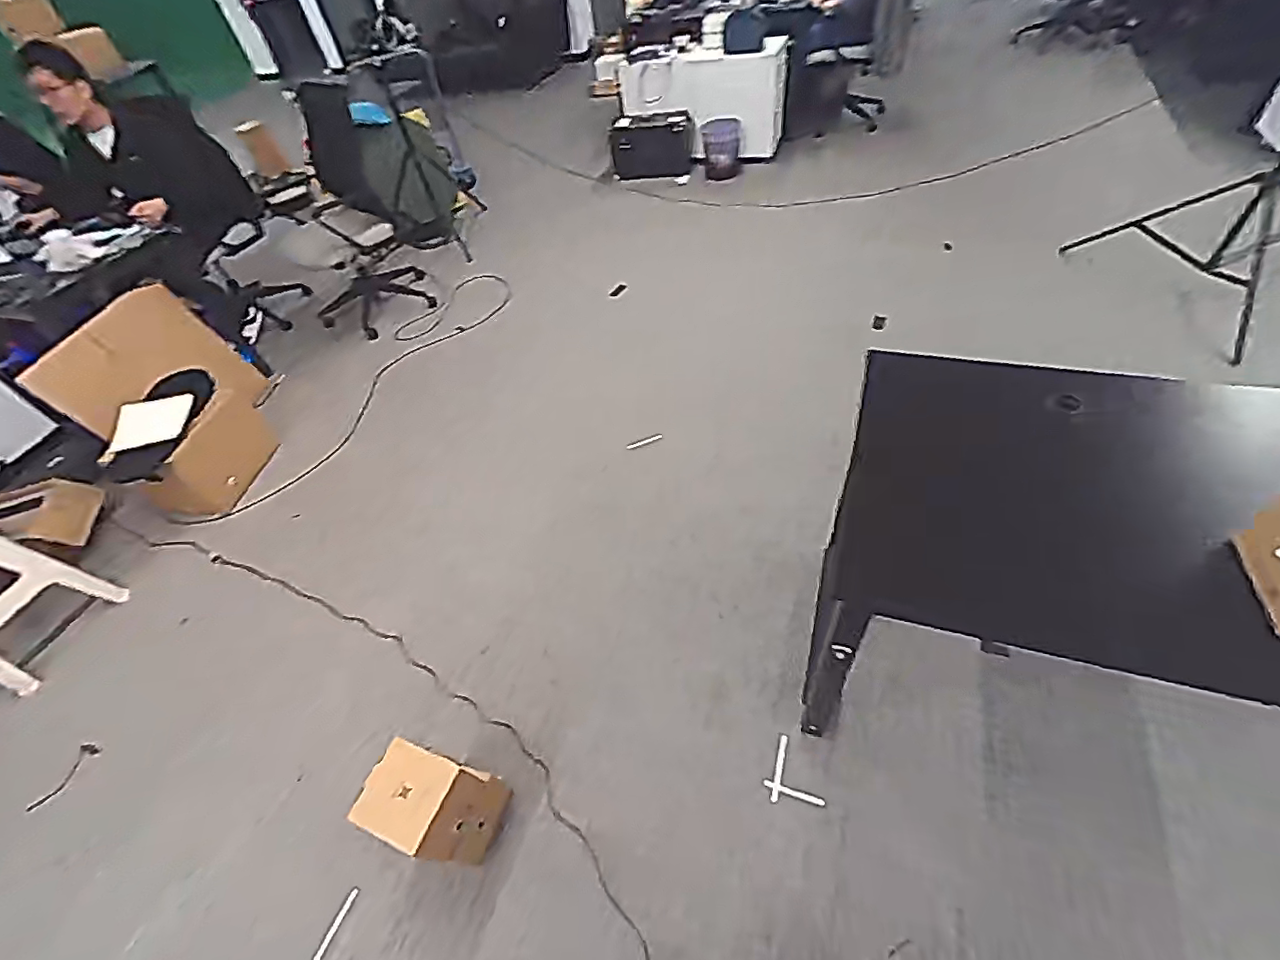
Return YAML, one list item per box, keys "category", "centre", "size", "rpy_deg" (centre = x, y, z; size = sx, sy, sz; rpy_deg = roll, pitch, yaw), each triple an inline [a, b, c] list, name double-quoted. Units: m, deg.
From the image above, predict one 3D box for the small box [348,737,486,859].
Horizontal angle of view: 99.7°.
- category: "small box"
  centre: [-0.463, 0.680, 1.150]
  size: [0.179, 0.176, 0.168]
  rpy_deg: [13, 55, 19]

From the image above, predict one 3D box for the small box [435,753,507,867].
- category: "small box"
  centre: [-0.435, 0.779, 1.275]
  size: [0.168, 0.176, 0.179]
  rpy_deg: [10, 54, 18]

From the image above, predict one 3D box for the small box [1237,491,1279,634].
- category: "small box"
  centre: [0.901, 0.100, 0.658]
  size: [0.179, 0.176, 0.168]
  rpy_deg: [6, 50, 16]
